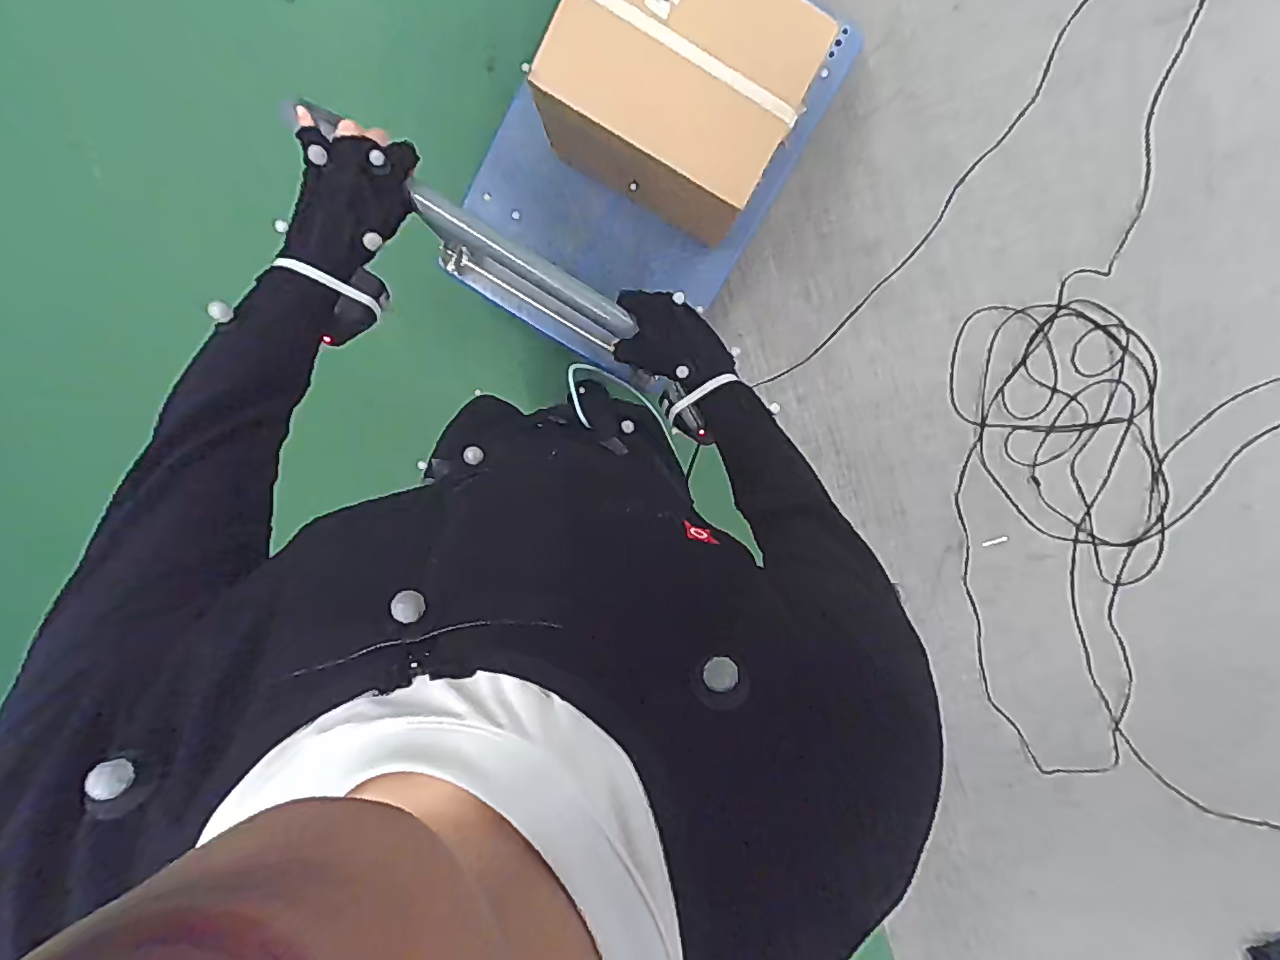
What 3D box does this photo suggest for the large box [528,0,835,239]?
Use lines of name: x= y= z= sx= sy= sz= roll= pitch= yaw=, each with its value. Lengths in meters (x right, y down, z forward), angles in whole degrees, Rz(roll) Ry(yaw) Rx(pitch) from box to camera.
large box: x=0.065 y=-0.713 z=1.003 sx=0.408 sy=0.320 sz=0.320 roll=28 pitch=99 yaw=-6
